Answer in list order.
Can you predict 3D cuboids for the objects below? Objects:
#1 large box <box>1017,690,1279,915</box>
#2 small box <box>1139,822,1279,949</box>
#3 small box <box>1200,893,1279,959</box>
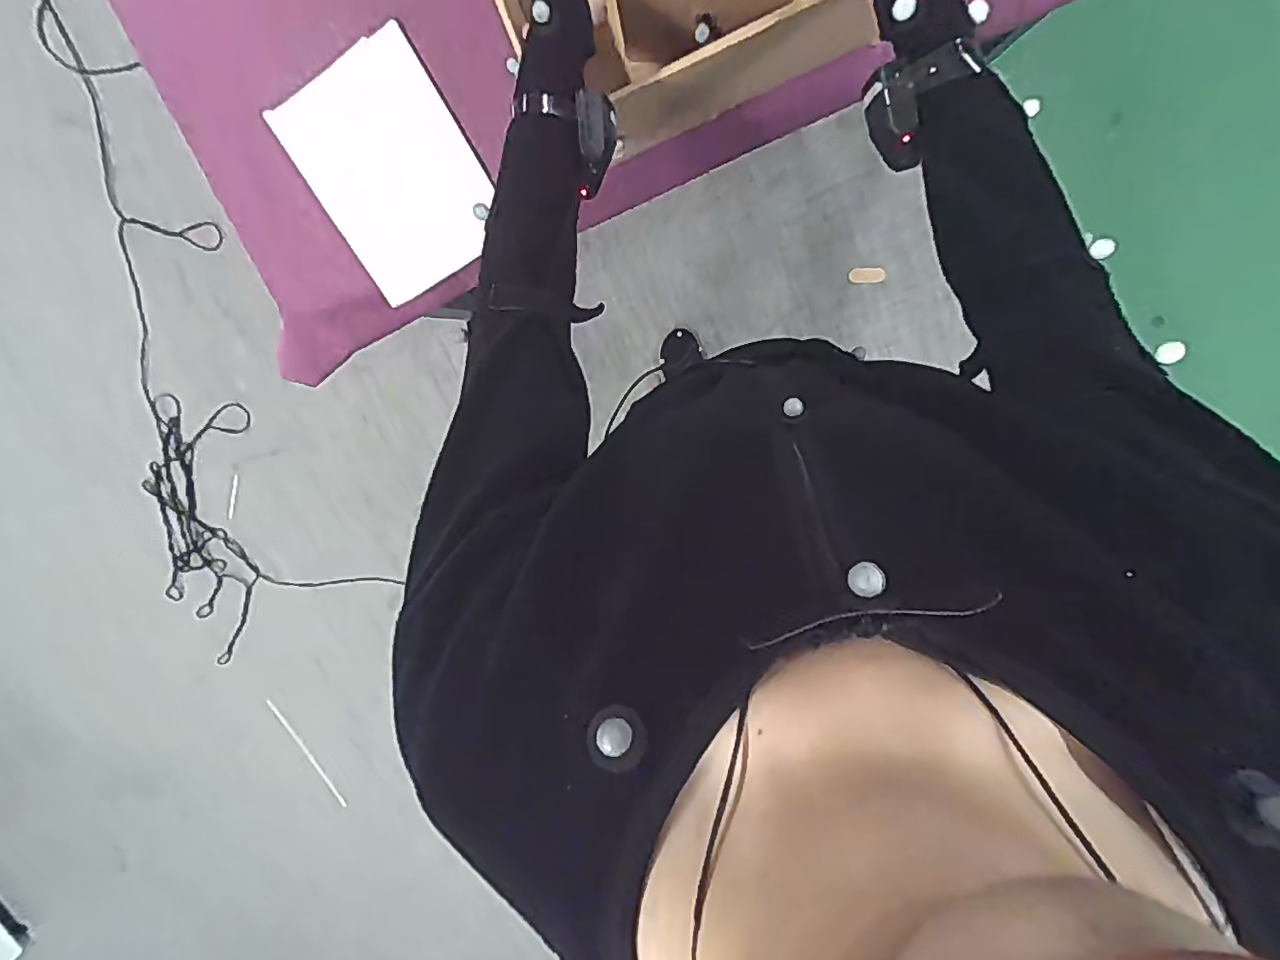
[{"bbox_3d":[1.399,0.886,1.516,0.408,0.320,0.320,-37,100,10],"label":"large box"},{"bbox_3d":[1.364,0.963,1.285,0.179,0.176,0.168,-34,99,11],"label":"small box"},{"bbox_3d":[1.348,1.012,1.129,0.168,0.176,0.179,-32,99,11],"label":"small box"}]
